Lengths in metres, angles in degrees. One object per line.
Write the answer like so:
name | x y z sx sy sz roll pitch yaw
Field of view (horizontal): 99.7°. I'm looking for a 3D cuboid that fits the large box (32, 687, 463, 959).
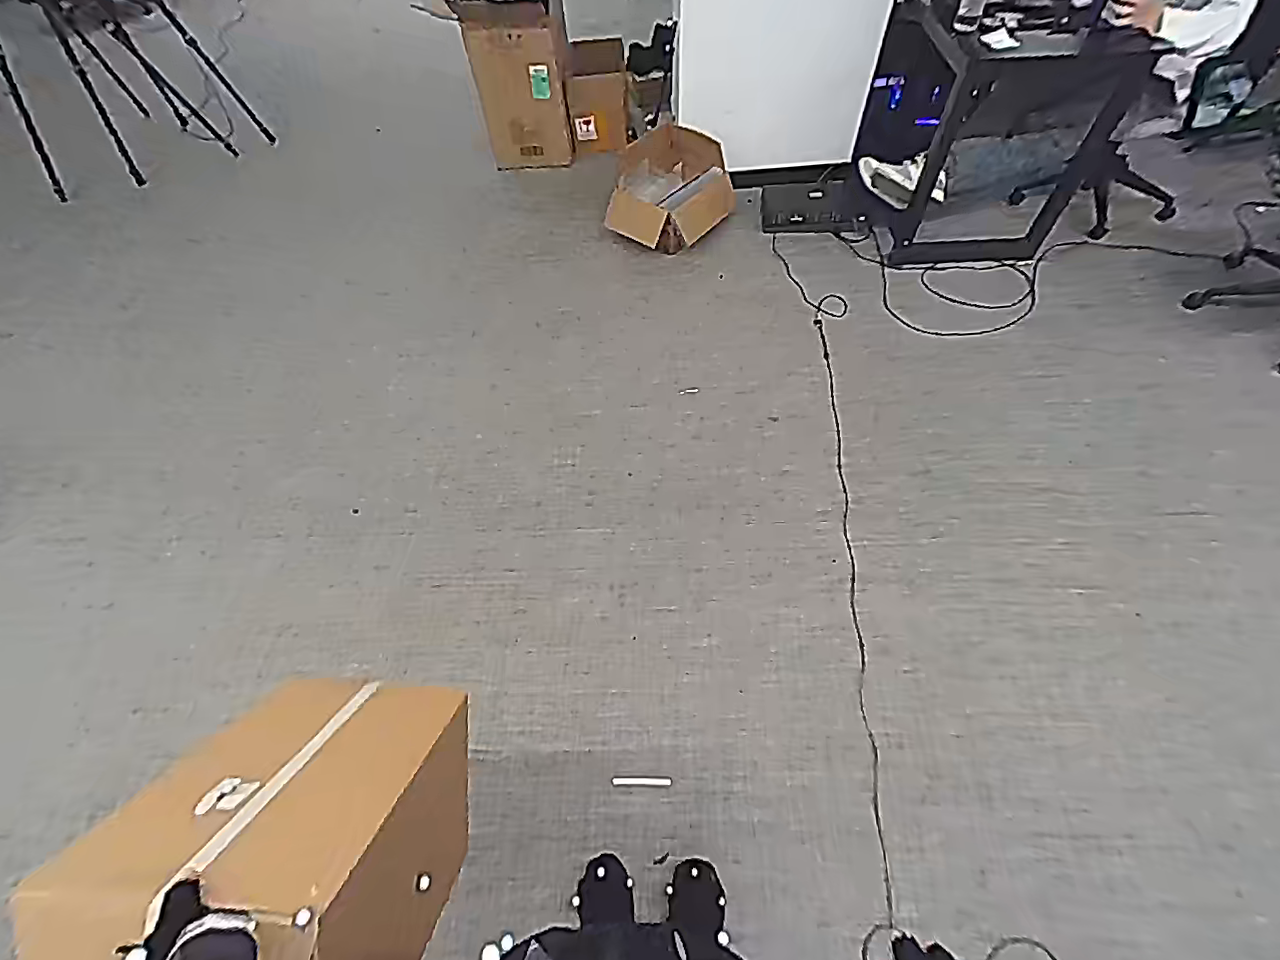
large box | -0.468 0.547 0.759 0.320 0.408 0.320 3 99 3
